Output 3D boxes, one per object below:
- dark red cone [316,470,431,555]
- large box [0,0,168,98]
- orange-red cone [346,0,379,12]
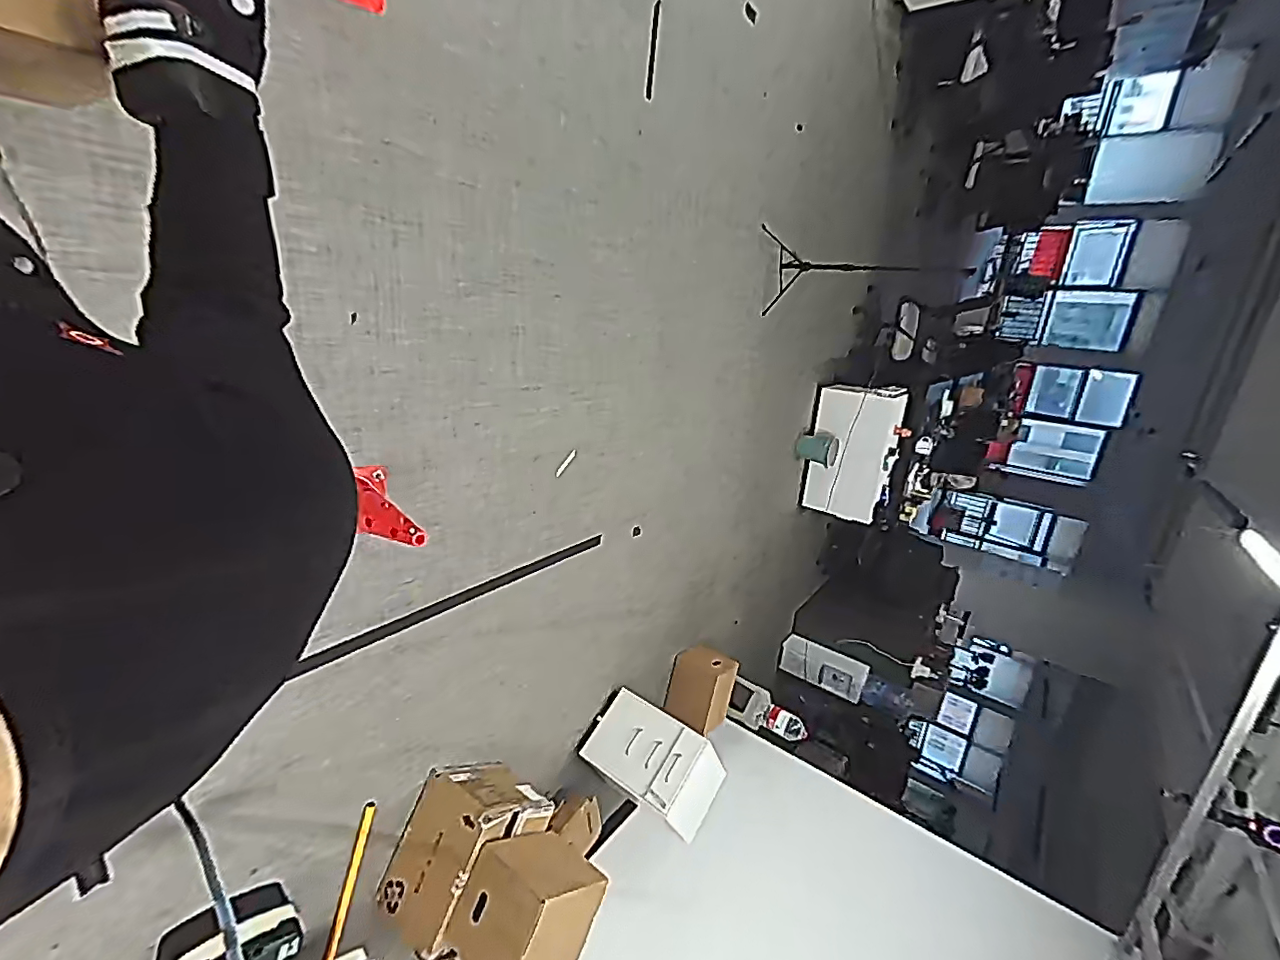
[{"bbox_3d":[-0.669,0.111,1.411,0.201,0.394,0.202,-8,111,-52],"label":"dark red cone"},{"bbox_3d":[-0.555,-0.441,0.261,0.408,0.320,0.320,-18,122,-52],"label":"large box"},{"bbox_3d":[-0.540,-1.143,1.093,0.198,0.360,0.199,-21,120,-50],"label":"orange-red cone"}]
